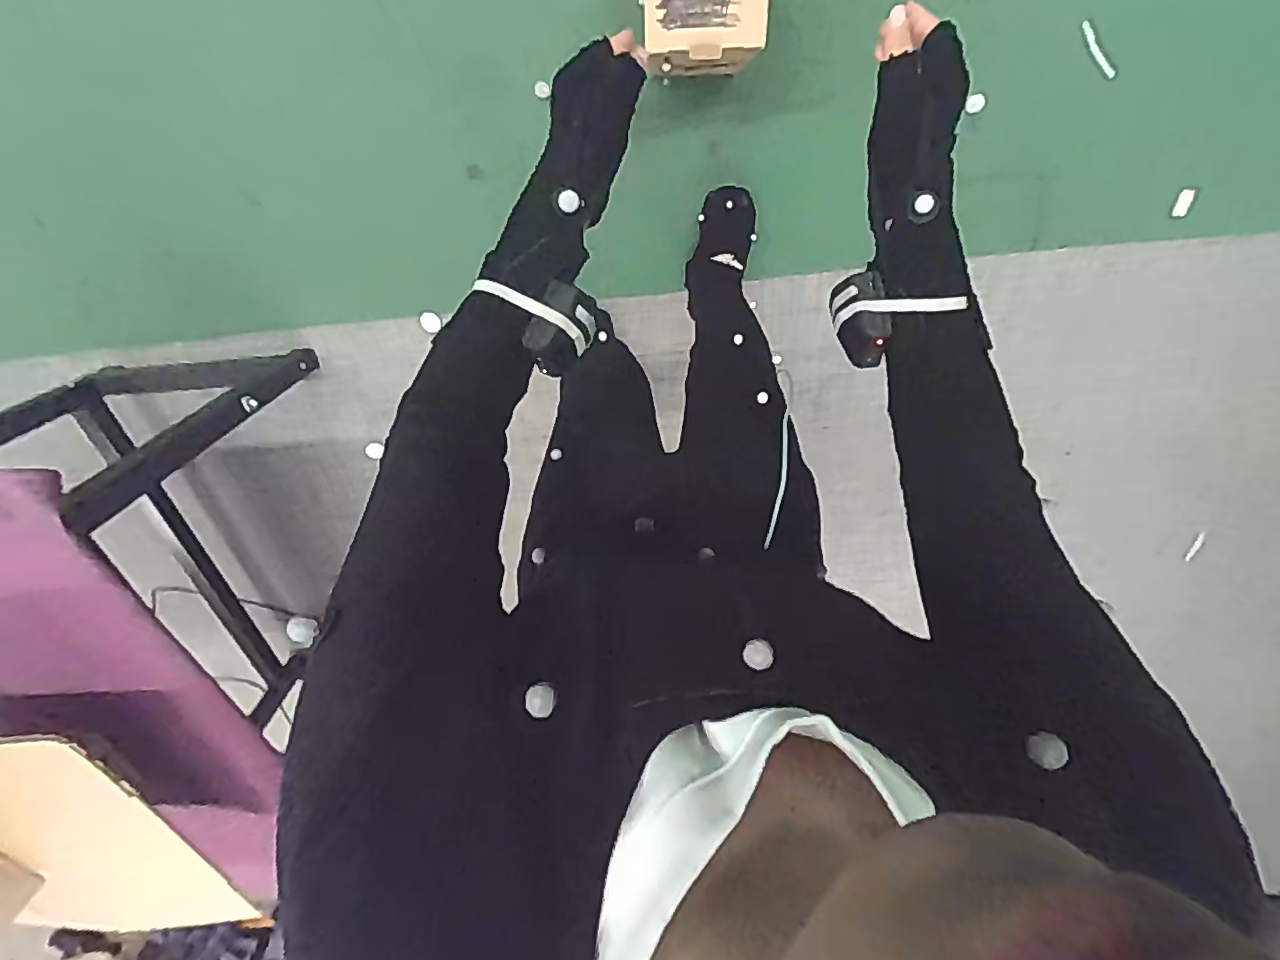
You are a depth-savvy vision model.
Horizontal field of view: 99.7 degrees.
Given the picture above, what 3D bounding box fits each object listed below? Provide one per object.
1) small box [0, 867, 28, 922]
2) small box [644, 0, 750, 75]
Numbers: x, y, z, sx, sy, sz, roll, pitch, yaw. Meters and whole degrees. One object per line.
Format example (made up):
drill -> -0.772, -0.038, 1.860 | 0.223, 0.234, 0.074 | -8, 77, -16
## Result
small box -> -1.116, 0.668, 0.809 | 0.179, 0.176, 0.168 | -1, 124, 4
small box -> 0.091, -0.787, 0.897 | 0.168, 0.176, 0.179 | -3, 125, 4
